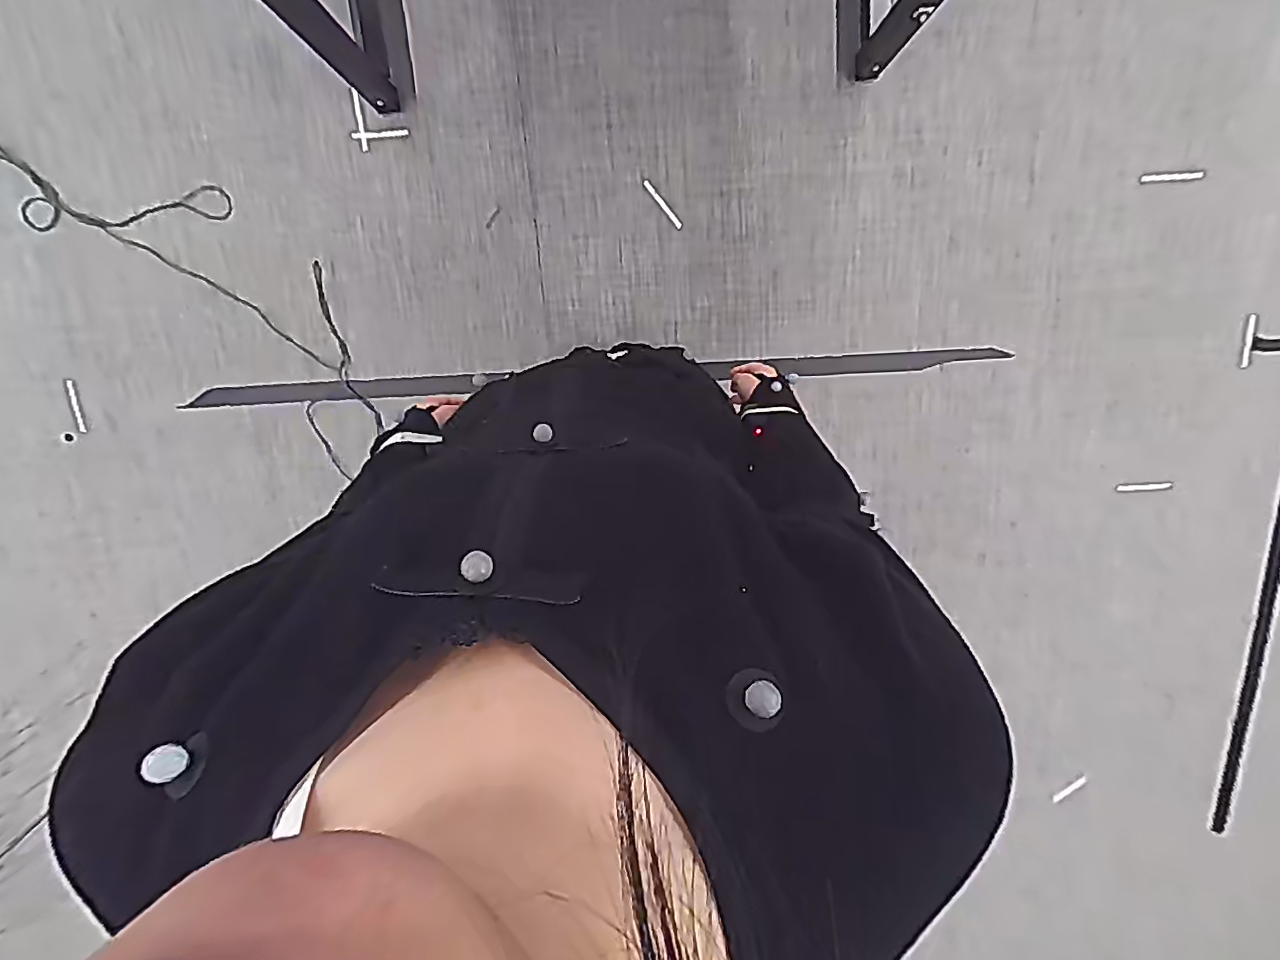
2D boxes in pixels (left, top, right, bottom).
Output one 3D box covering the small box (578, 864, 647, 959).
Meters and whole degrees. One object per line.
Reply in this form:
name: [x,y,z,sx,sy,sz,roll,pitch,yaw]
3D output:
small box: [-0.071,1.209,1.489,0.168,0.176,0.179,-8,103,0]
